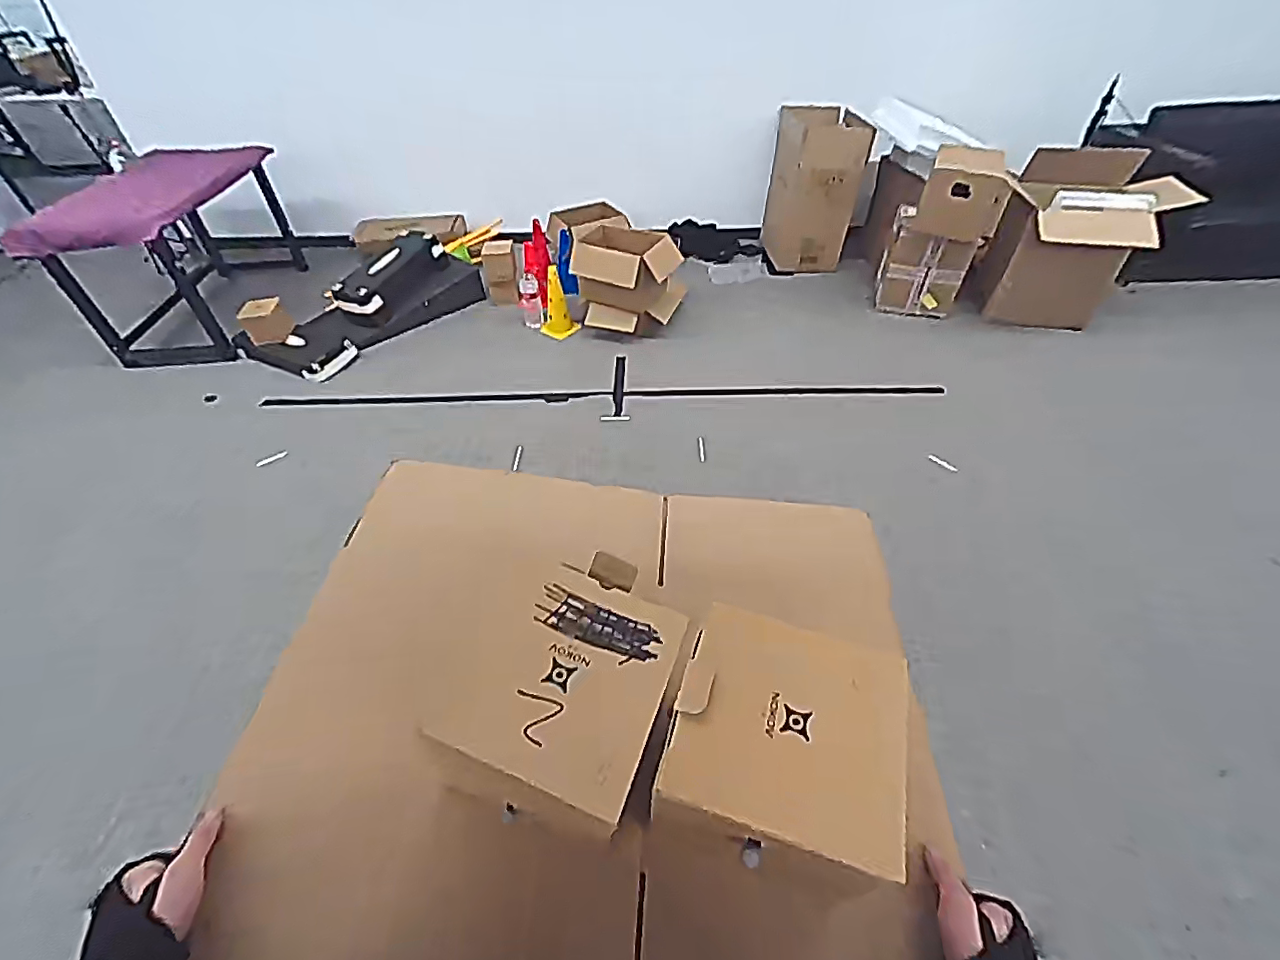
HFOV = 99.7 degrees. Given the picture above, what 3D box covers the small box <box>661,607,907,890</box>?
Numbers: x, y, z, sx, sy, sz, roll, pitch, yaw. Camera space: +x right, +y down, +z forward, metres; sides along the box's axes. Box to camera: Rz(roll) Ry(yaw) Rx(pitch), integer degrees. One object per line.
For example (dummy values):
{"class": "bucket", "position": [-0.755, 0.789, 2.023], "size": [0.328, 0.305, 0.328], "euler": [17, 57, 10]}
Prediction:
{"class": "small box", "position": [0.125, 0.249, 0.497], "size": [0.179, 0.176, 0.168], "euler": [13, 49, 13]}
